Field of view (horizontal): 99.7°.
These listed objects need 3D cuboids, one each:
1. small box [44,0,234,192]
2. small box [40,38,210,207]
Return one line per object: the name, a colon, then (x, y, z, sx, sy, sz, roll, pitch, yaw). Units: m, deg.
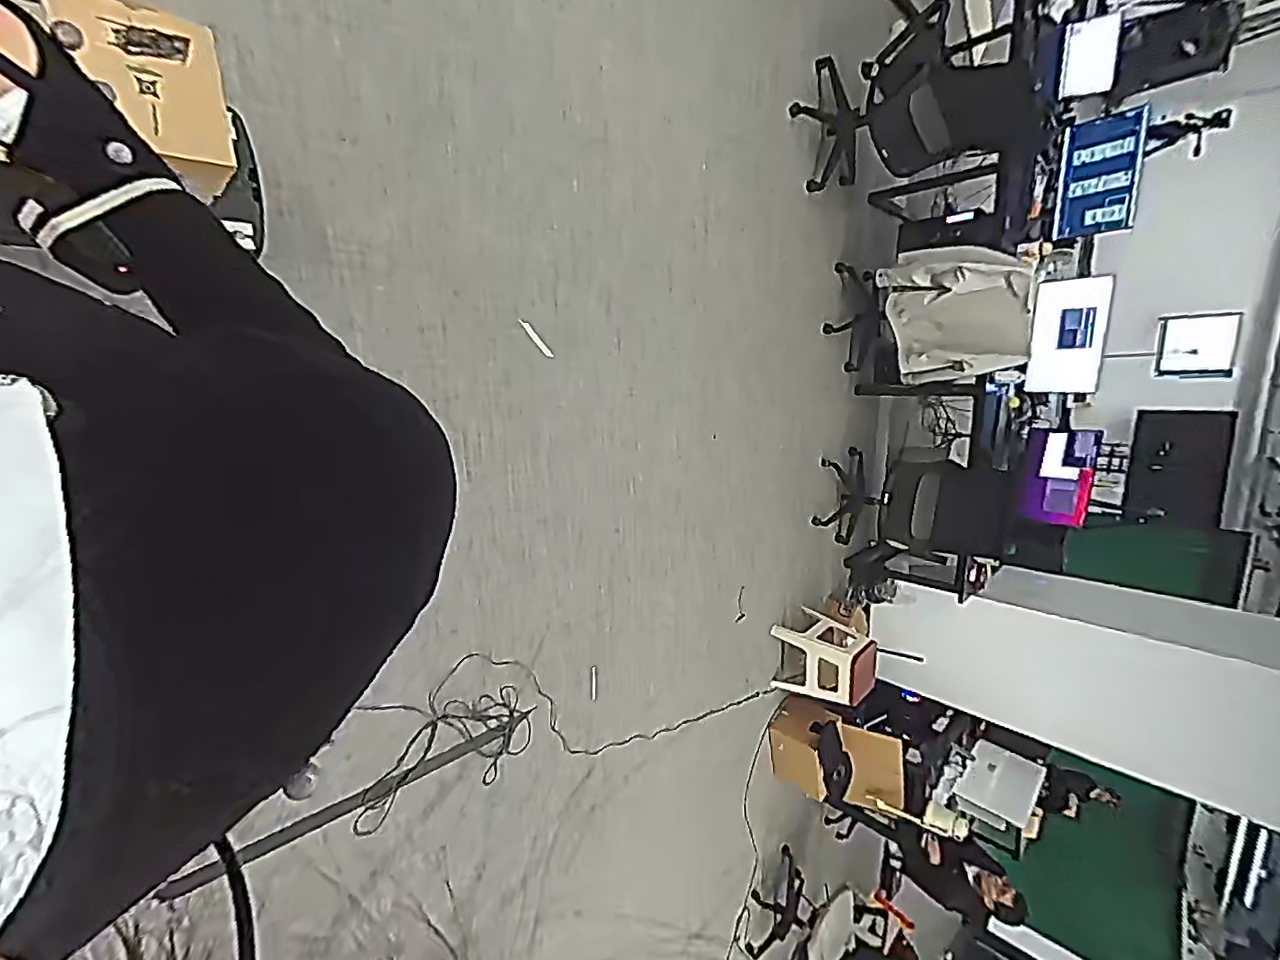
small box: (-0.701, -0.533, 0.761, 0.168, 0.176, 0.179, -14, 108, -43)
small box: (-0.823, -0.548, 0.870, 0.168, 0.176, 0.179, -14, 107, -42)
